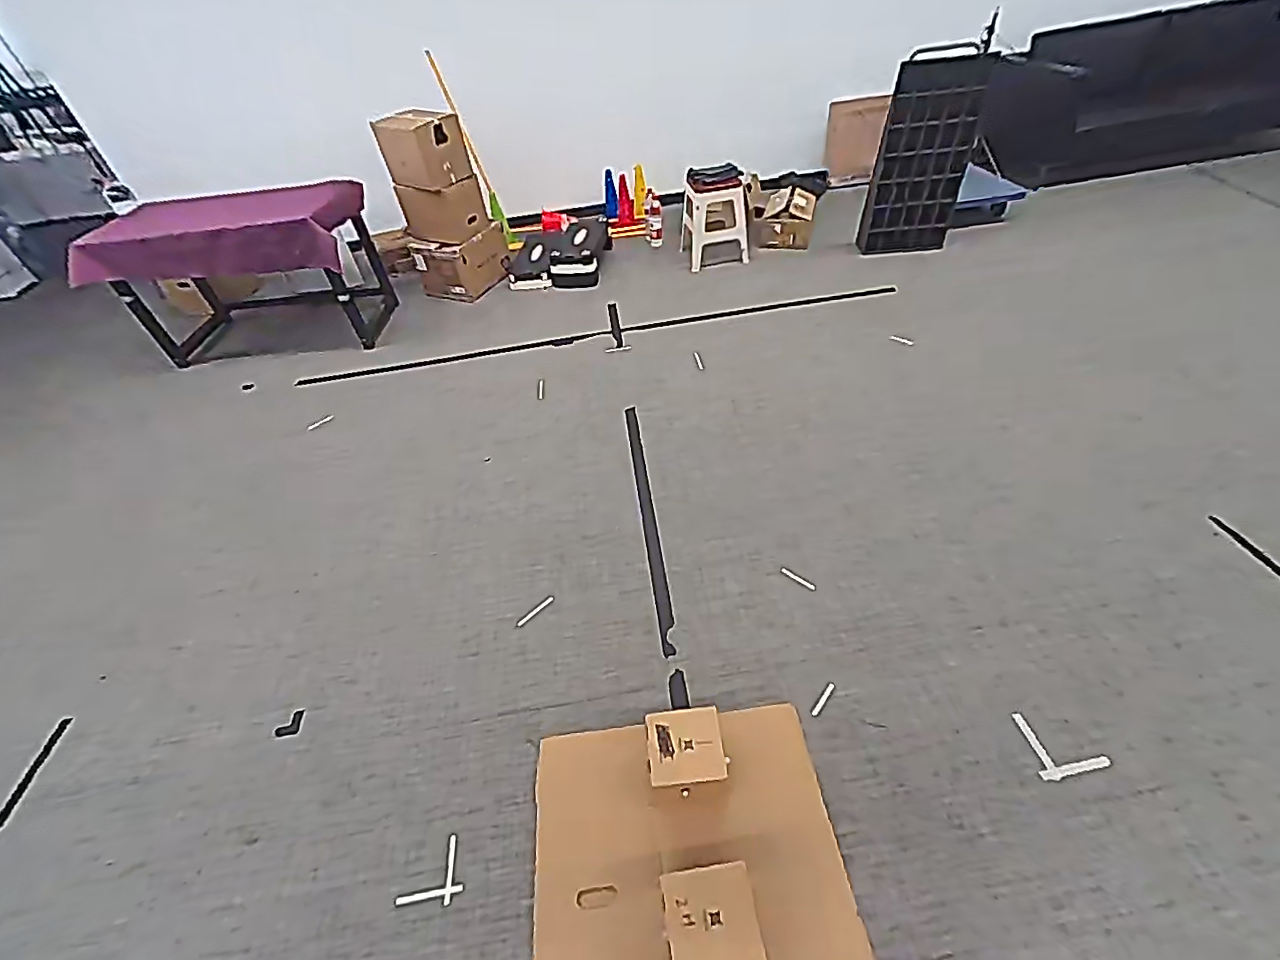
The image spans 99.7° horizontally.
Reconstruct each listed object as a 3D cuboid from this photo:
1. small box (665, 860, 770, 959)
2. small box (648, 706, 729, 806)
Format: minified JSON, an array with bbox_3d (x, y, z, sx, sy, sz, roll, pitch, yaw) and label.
[{"bbox_3d":[0.152,0.896,1.095,0.179,0.176,0.168,-10,43,0],"label":"small box"},{"bbox_3d":[0.119,0.680,1.326,0.179,0.176,0.168,-7,44,1],"label":"small box"}]
